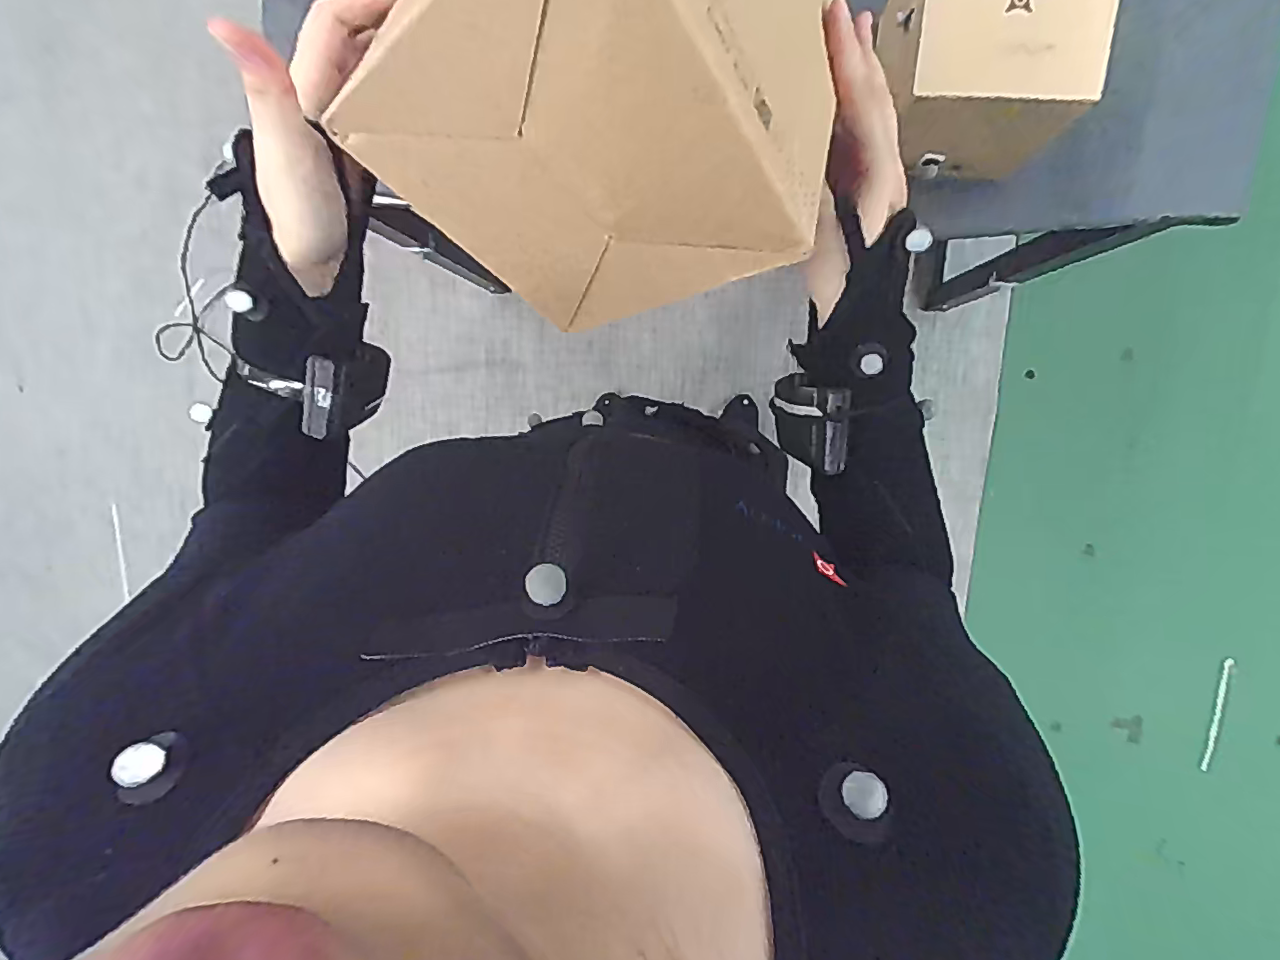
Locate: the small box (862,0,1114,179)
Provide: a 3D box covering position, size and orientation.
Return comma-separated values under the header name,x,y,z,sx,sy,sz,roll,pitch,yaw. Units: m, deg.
name,x,y,z,sx,sy,sz,roll,pitch,yaw
small box,0.346,-0.444,0.563,0.168,0.176,0.179,5,98,6
